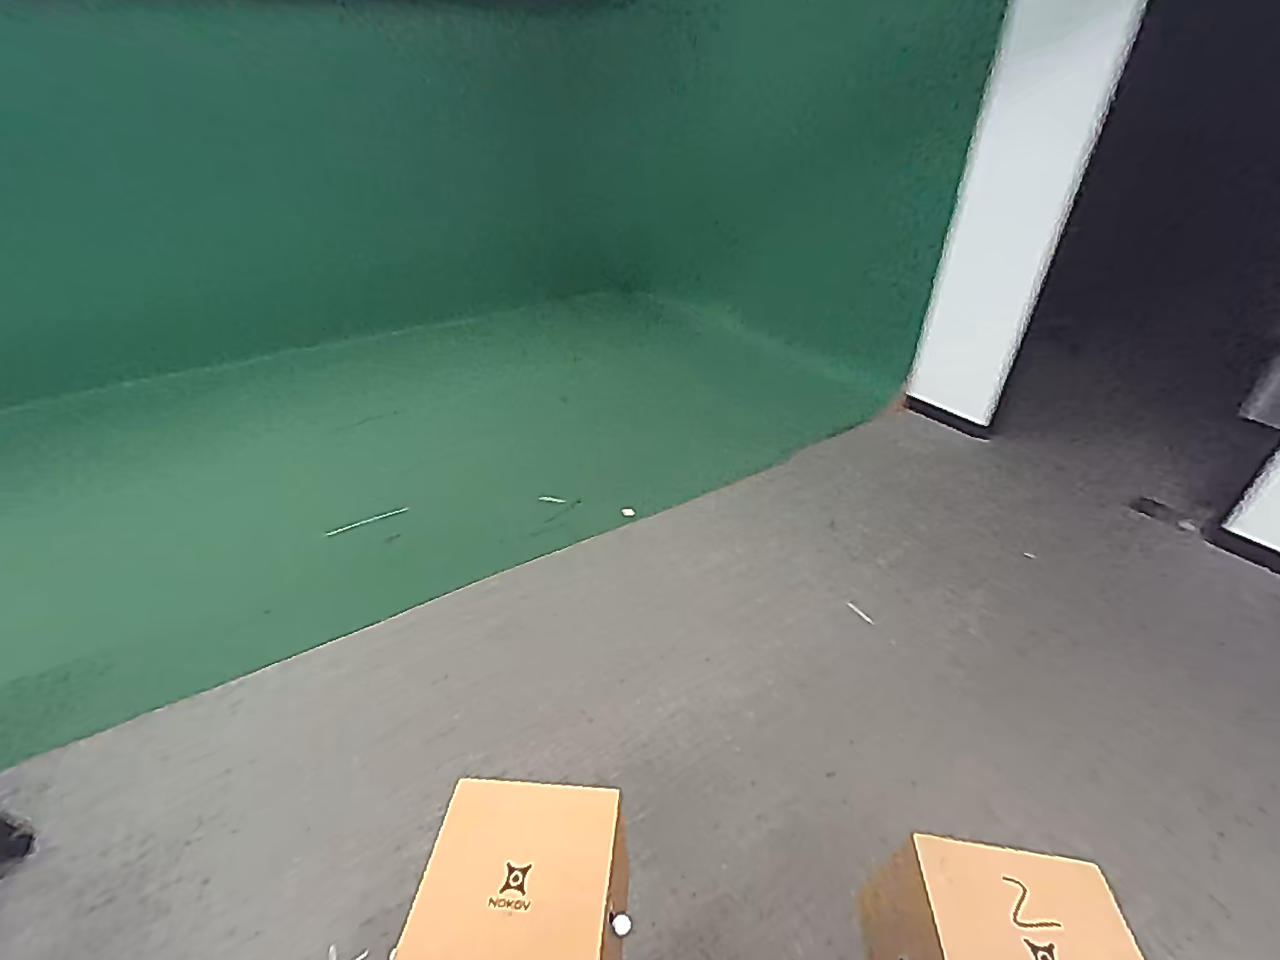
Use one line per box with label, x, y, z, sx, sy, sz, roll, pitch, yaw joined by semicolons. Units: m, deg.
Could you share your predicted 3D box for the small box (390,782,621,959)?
small box;-0.109;0.418;0.506;0.168;0.176;0.179;1;34;5
